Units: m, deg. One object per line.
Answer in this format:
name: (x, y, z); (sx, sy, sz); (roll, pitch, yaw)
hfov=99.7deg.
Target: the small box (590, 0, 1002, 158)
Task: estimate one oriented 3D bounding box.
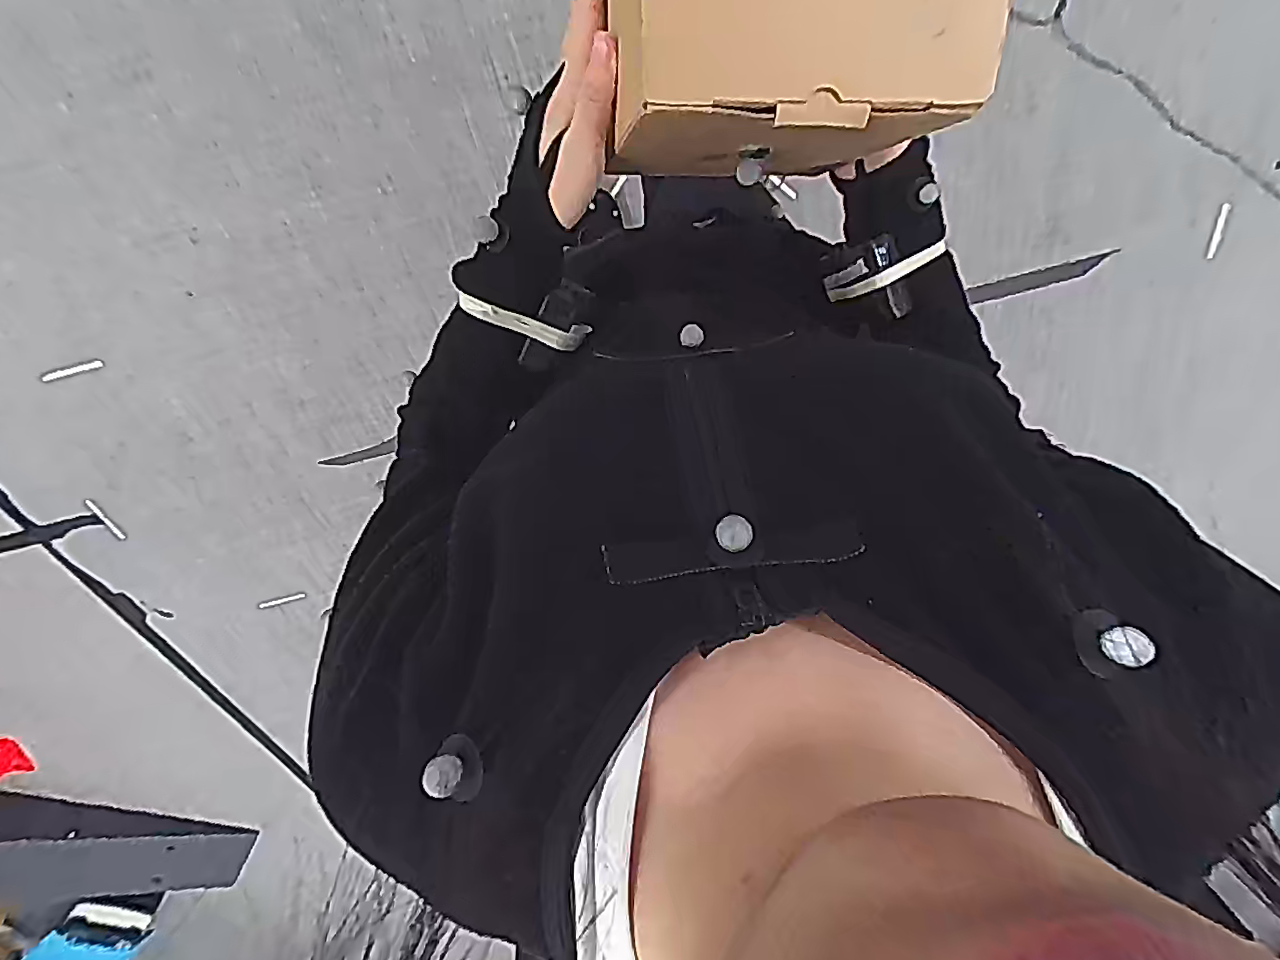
small box: (0.065, -0.279, 0.283); (0.168, 0.176, 0.179); (-6, 112, -9)
